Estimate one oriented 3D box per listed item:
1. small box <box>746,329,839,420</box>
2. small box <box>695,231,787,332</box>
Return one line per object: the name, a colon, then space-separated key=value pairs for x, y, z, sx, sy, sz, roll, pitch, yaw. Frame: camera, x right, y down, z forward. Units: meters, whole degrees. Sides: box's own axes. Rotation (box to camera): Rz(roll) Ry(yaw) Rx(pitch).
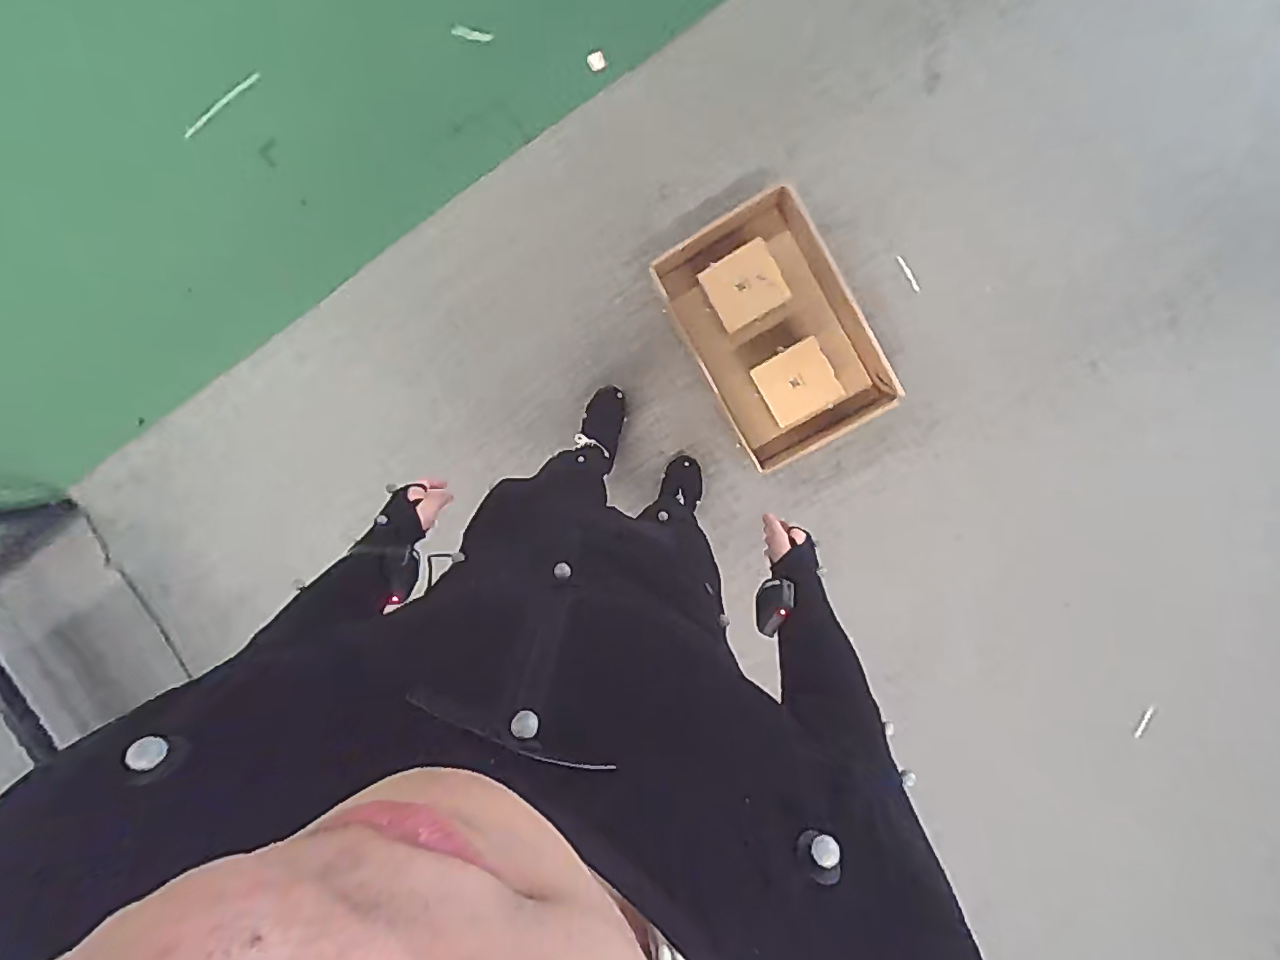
small box: x=0.389 y=-0.268 z=1.415 sx=0.179 sy=0.176 sz=0.168 roll=-29 pitch=93 yaw=10
small box: x=0.258 y=-0.501 z=1.398 sx=0.179 sy=0.176 sz=0.168 roll=-28 pitch=95 yaw=10
